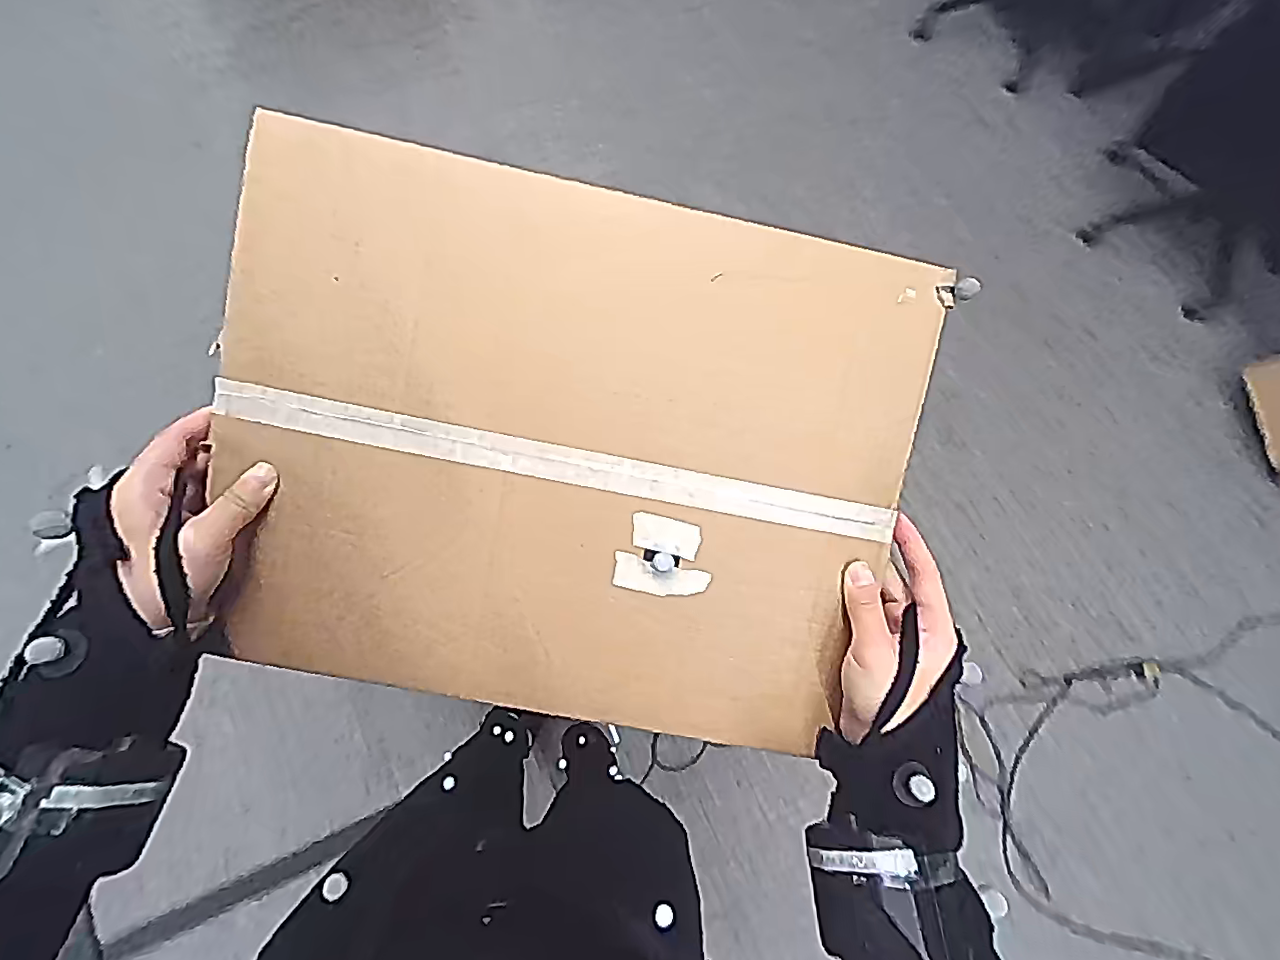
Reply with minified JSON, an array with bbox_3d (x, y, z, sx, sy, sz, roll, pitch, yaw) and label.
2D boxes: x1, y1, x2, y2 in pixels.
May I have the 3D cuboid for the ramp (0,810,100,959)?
[{"bbox_3d":[-1.484,1.026,0.868,0.991,0.206,0.509,-24,74,-11],"label":"ramp"}]
